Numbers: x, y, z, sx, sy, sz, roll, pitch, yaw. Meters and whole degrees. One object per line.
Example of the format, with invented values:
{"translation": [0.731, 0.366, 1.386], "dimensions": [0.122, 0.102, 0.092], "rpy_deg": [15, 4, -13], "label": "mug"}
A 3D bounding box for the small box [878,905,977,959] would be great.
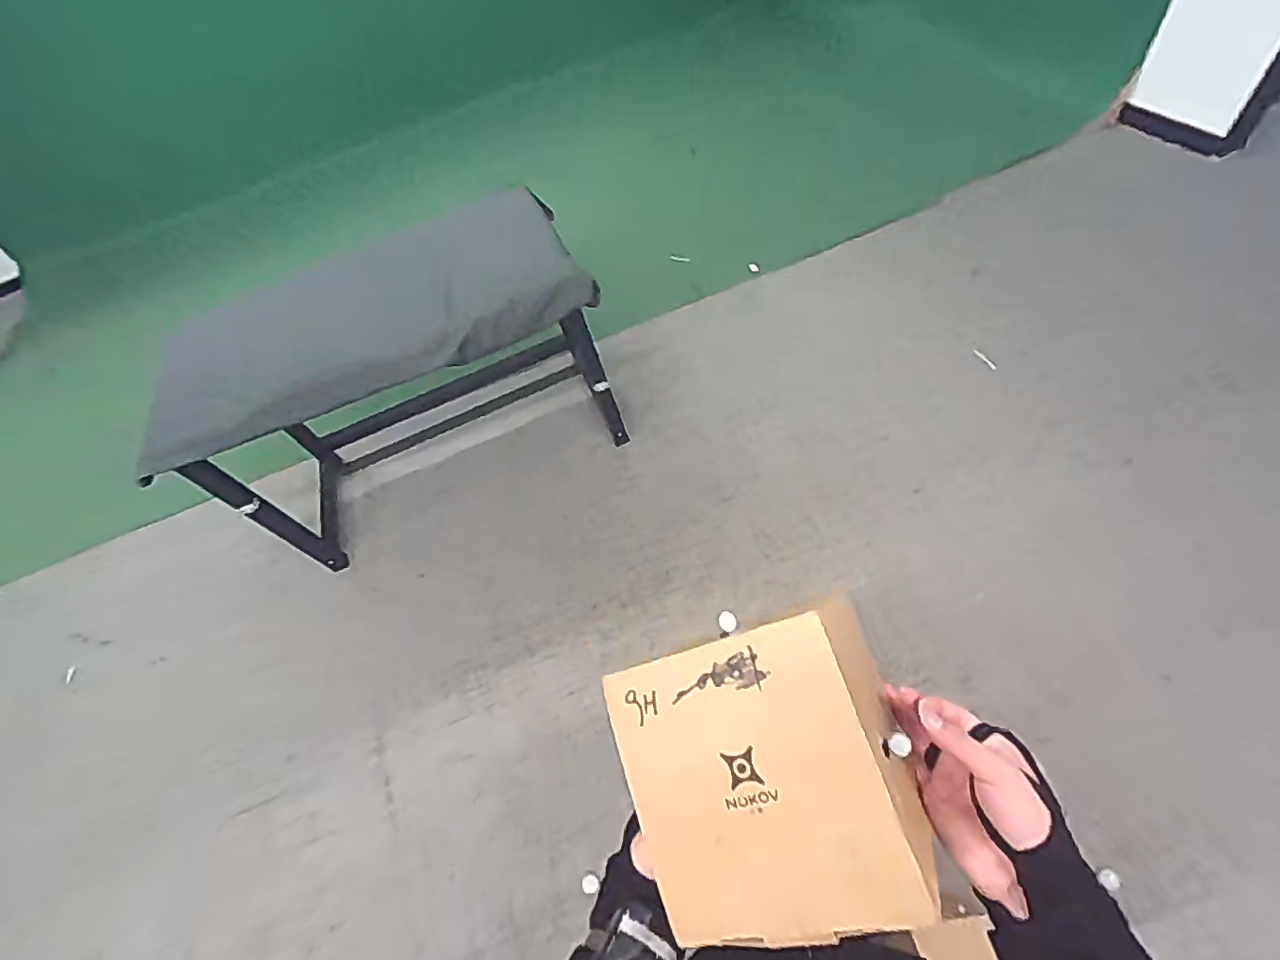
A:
{"translation": [0.580, 0.943, 1.048], "dimensions": [0.179, 0.176, 0.168], "rpy_deg": [-14, 52, 5], "label": "small box"}

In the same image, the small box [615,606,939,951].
{"translation": [0.109, 0.211, 0.423], "dimensions": [0.168, 0.176, 0.179], "rpy_deg": [-24, 74, 20], "label": "small box"}

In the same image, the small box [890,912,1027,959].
{"translation": [0.550, 0.849, 0.916], "dimensions": [0.179, 0.176, 0.168], "rpy_deg": [-12, 52, 5], "label": "small box"}
